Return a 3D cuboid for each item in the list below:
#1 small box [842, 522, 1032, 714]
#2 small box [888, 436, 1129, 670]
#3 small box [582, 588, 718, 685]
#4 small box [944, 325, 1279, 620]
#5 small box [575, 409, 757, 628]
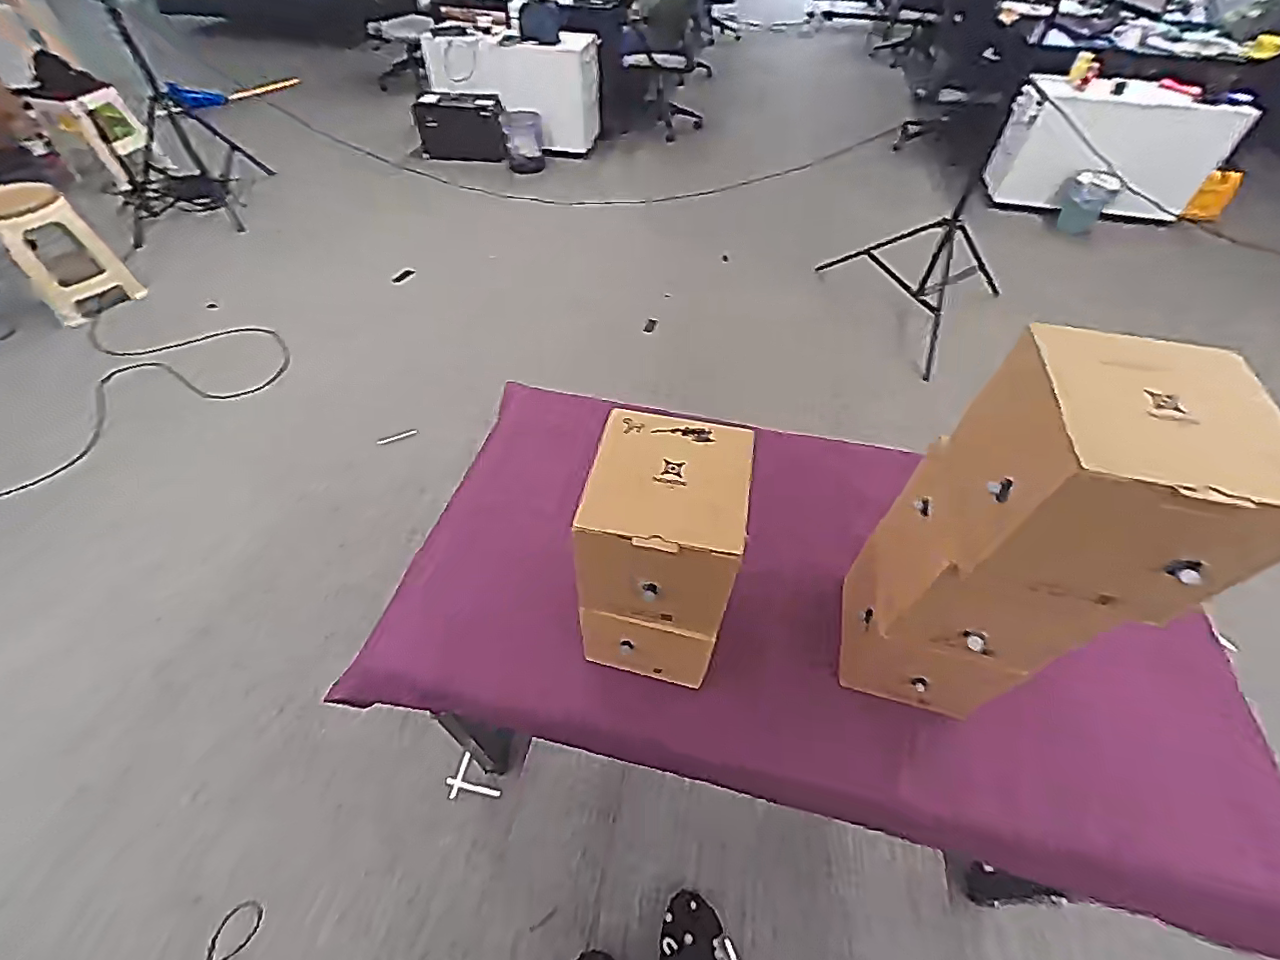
[{"bbox_3d":[0.382,0.189,0.729,0.168,0.176,0.179,14,51,9],"label":"small box"},{"bbox_3d":[0.390,0.083,0.604,0.168,0.176,0.179,13,52,9],"label":"small box"},{"bbox_3d":[0.029,0.158,0.745,0.168,0.176,0.179,12,50,8],"label":"small box"},{"bbox_3d":[0.391,-0.003,0.465,0.168,0.176,0.179,11,51,6],"label":"small box"},{"bbox_3d":[0.033,0.048,0.623,0.168,0.176,0.179,10,50,6],"label":"small box"}]
